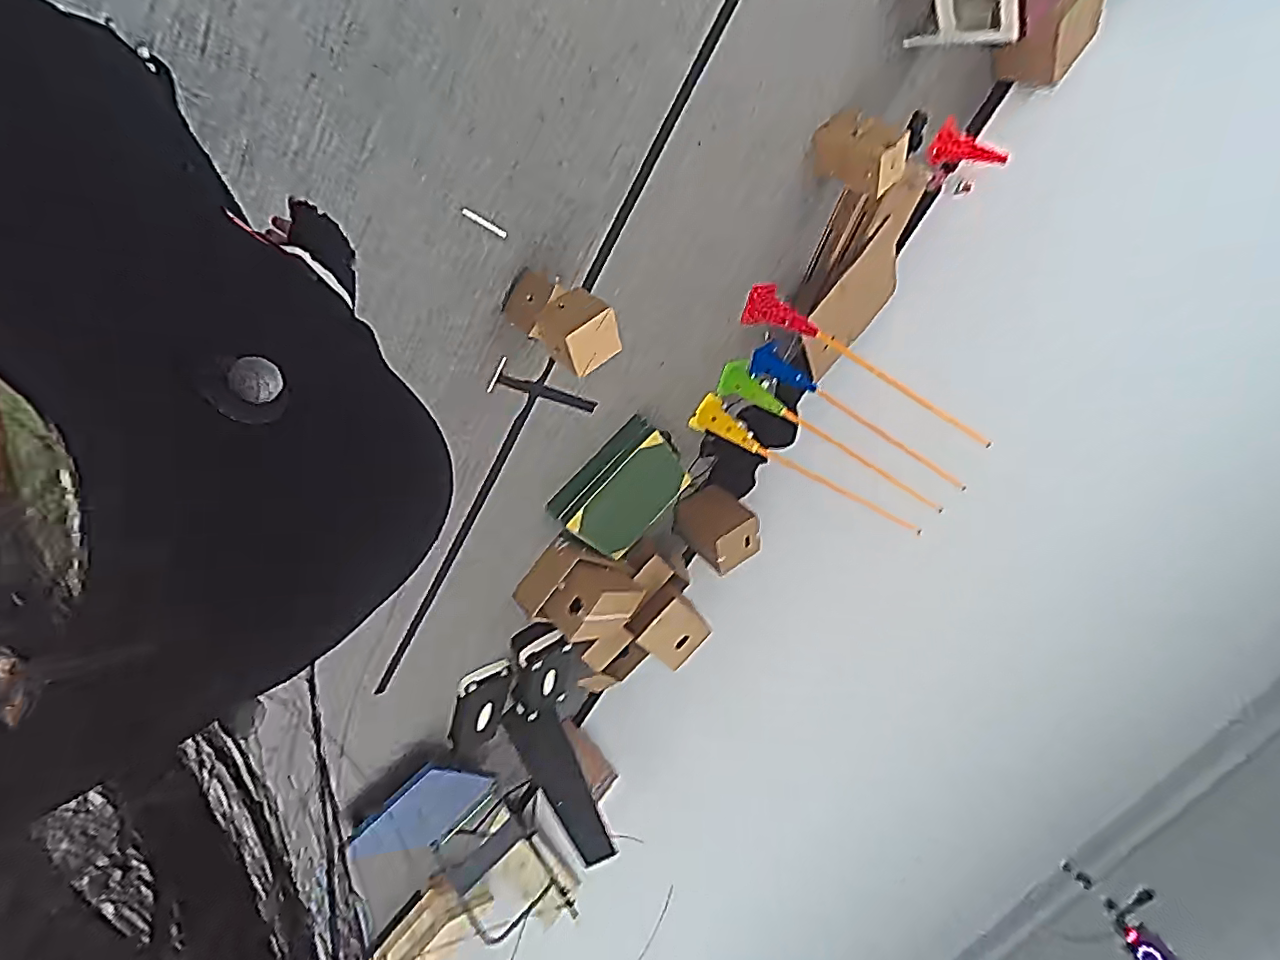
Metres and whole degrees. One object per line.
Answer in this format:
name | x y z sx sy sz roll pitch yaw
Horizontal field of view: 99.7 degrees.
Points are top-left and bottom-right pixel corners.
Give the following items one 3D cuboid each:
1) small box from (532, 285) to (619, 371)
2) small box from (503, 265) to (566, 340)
small box | -0.194 -0.459 1.653 0.179 0.176 0.168 -40 148 -16
small box | -0.310 -0.554 1.729 0.168 0.176 0.179 10 115 -56
